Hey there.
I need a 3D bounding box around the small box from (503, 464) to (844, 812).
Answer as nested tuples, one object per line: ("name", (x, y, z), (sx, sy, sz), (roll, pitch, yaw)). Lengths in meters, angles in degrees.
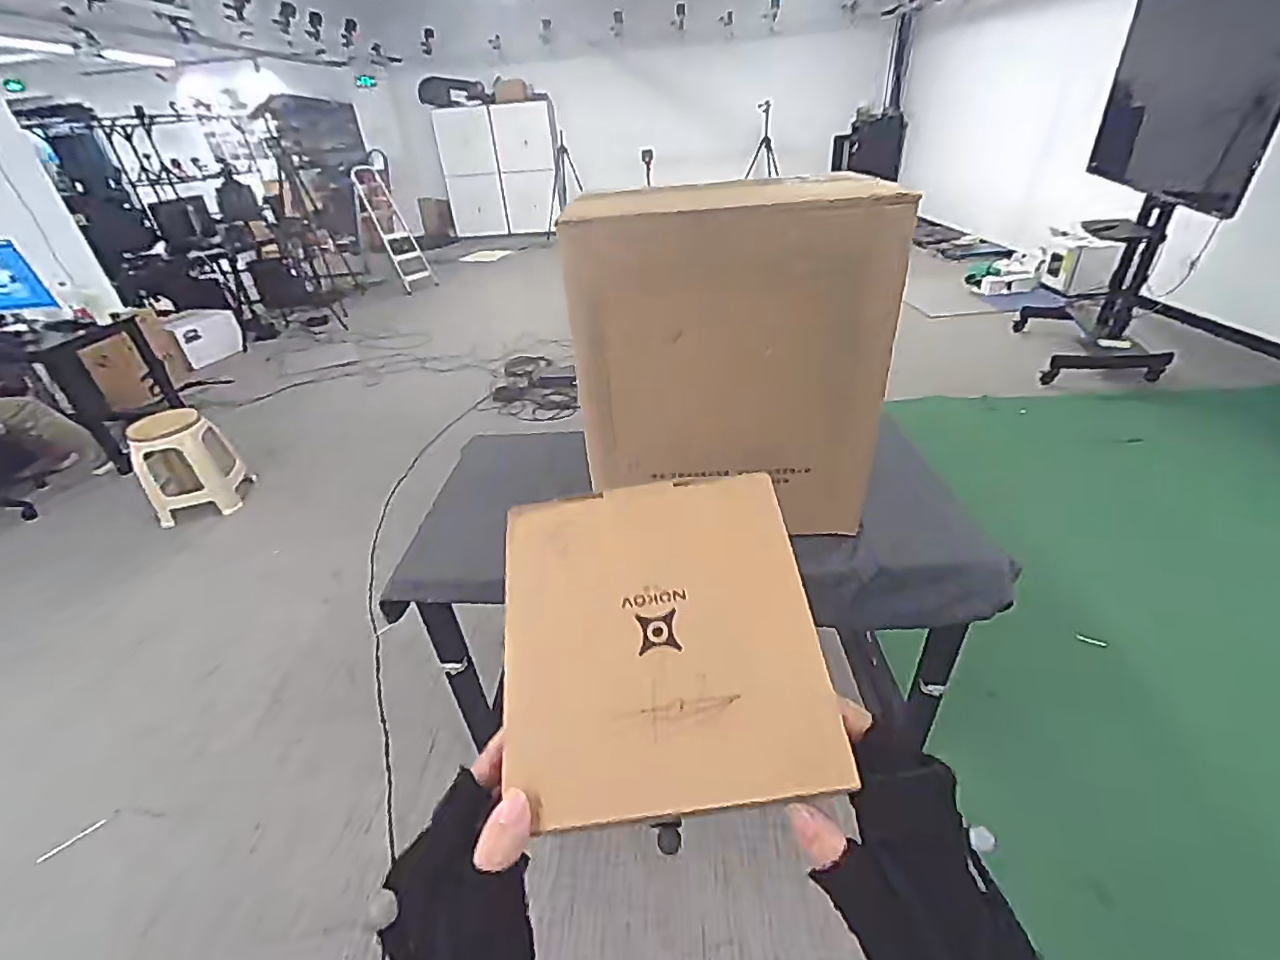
("small box", (0.014, 0.114, 0.366), (0.168, 0.176, 0.179), (-8, 58, 1))
